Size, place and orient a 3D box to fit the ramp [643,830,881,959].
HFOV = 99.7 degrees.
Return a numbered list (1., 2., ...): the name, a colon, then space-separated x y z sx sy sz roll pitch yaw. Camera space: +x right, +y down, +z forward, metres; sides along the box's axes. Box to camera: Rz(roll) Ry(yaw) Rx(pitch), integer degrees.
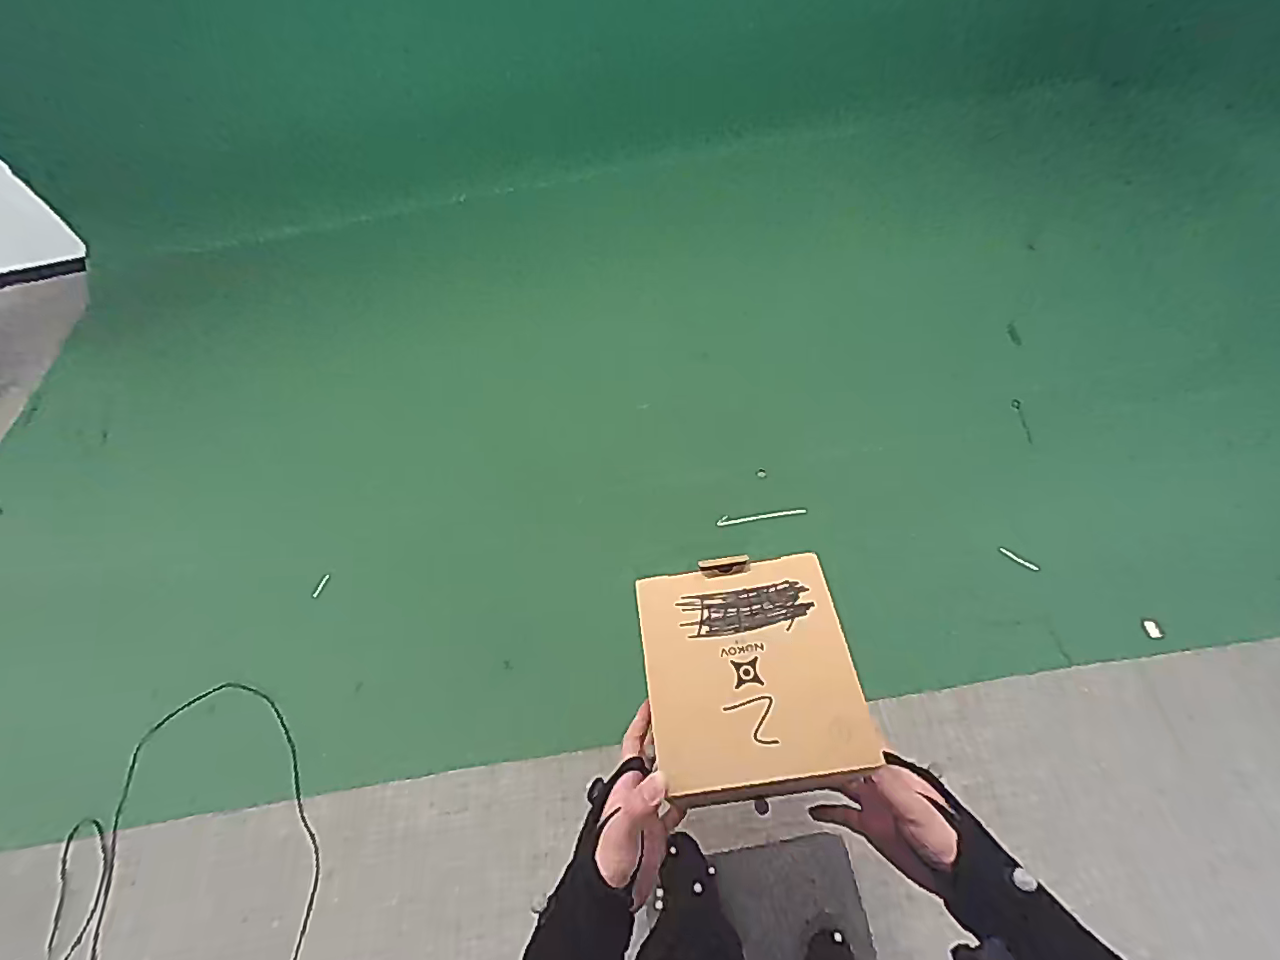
1. ramp: 0.331 1.316 1.083 0.509 0.206 0.991 -12 58 -1
